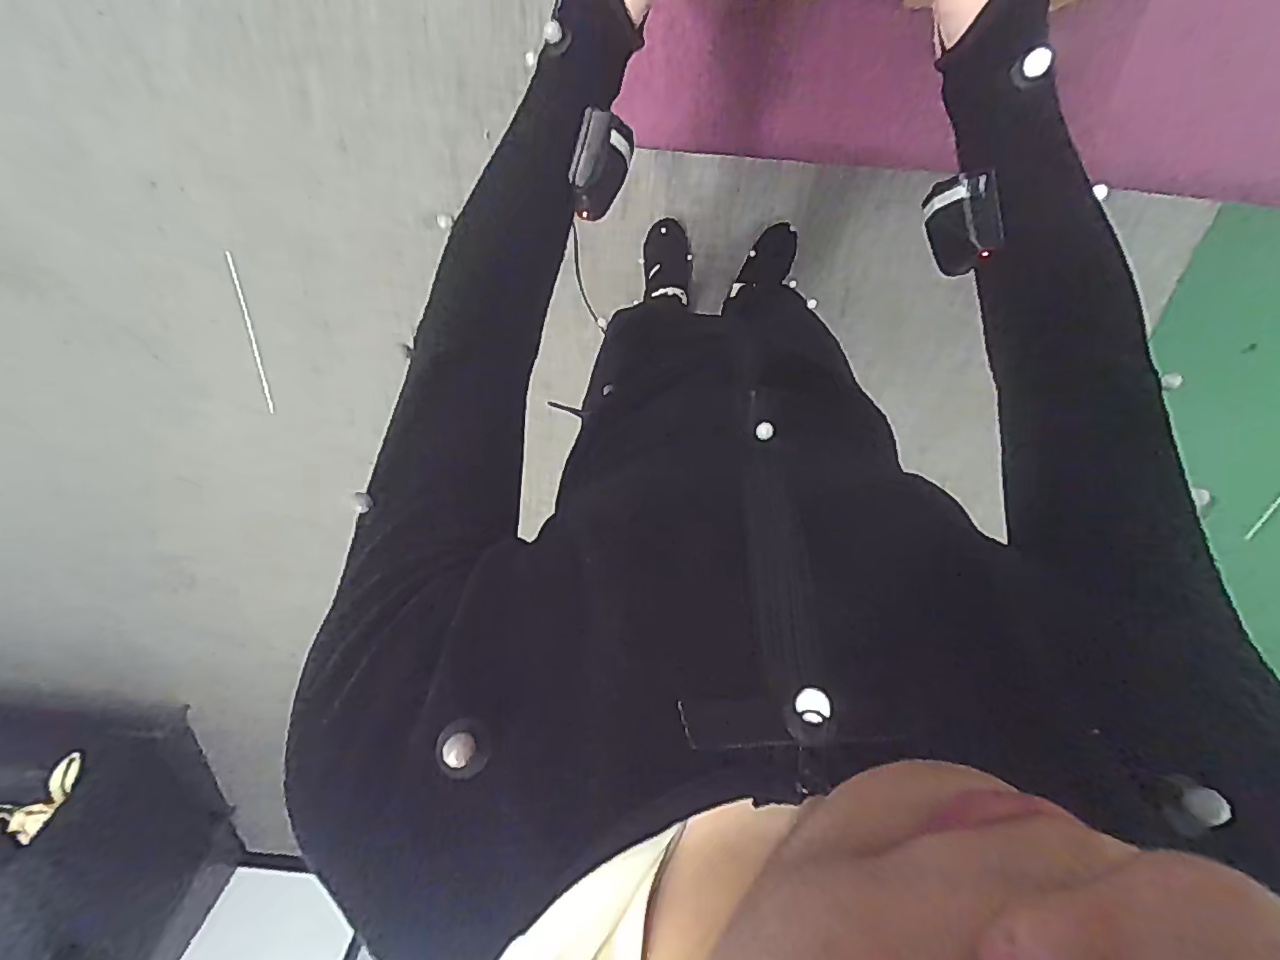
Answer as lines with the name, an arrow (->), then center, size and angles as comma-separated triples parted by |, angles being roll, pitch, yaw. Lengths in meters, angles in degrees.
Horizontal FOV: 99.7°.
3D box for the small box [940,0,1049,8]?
small box -> 0.373, -0.571, 0.492 | 0.168, 0.176, 0.179 | 4, 119, 1
